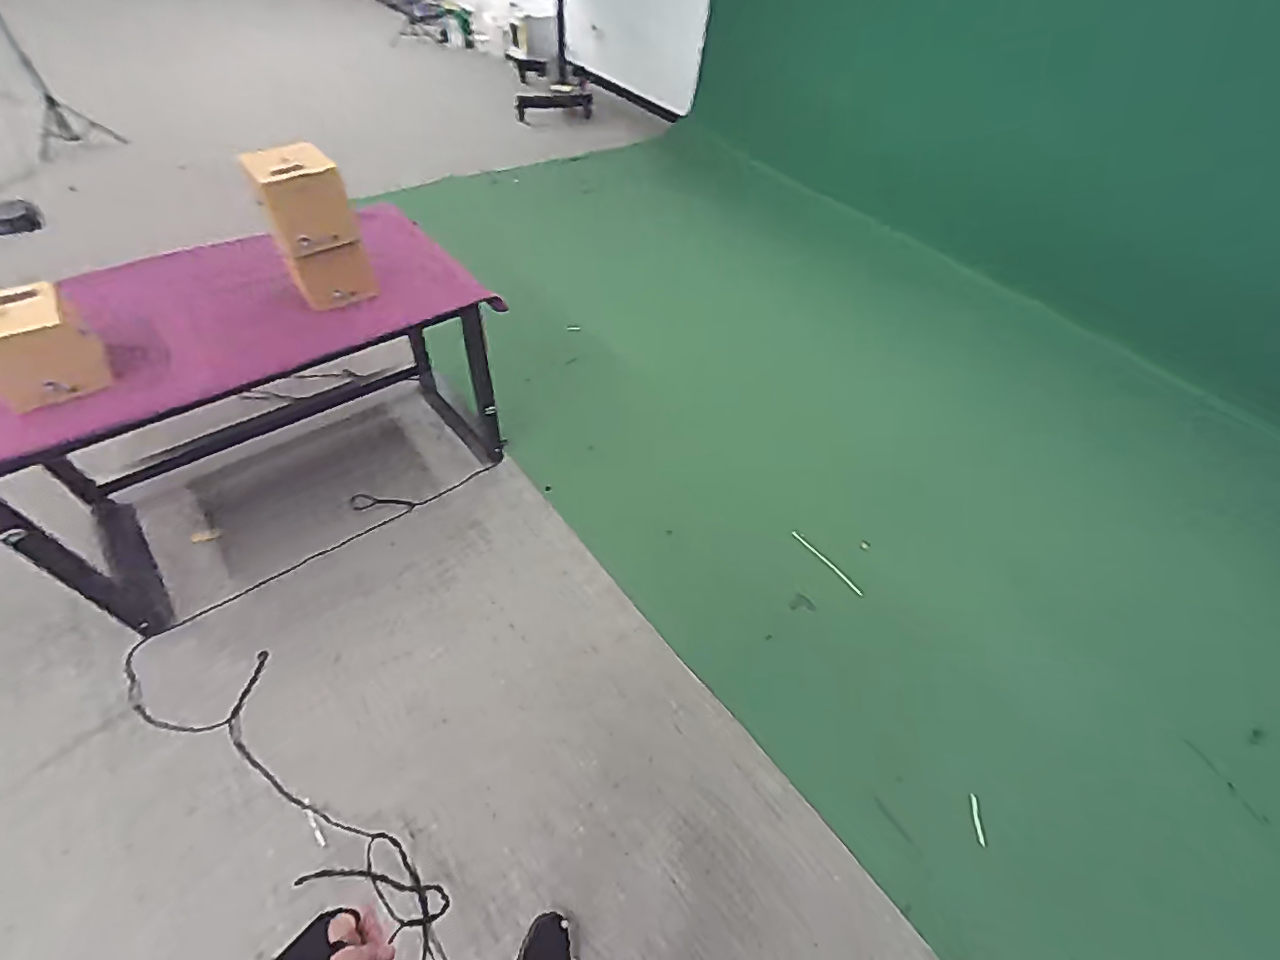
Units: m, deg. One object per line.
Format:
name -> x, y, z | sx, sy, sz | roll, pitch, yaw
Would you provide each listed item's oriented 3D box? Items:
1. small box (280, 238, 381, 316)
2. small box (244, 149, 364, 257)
small box -> -0.813, -0.563, 1.421 | 0.168, 0.176, 0.179 | -29, 59, -25
small box -> -0.789, -0.653, 1.286 | 0.168, 0.176, 0.179 | -31, 59, -26
